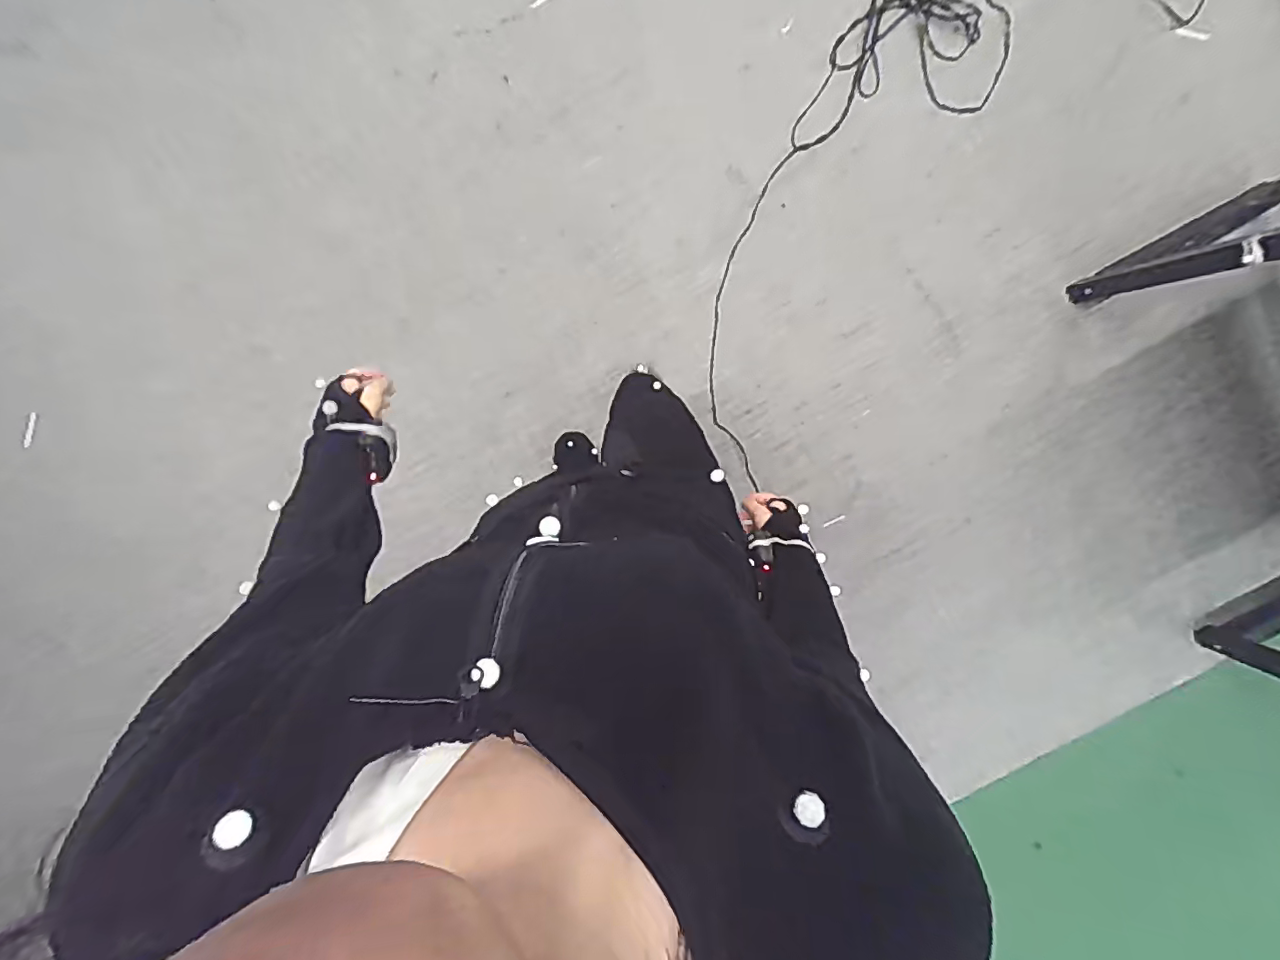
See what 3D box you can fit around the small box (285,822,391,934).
[{"bbox_3d":[-0.851,1.119,1.540,0.168,0.176,0.179,-24,99,1],"label":"small box"}]
